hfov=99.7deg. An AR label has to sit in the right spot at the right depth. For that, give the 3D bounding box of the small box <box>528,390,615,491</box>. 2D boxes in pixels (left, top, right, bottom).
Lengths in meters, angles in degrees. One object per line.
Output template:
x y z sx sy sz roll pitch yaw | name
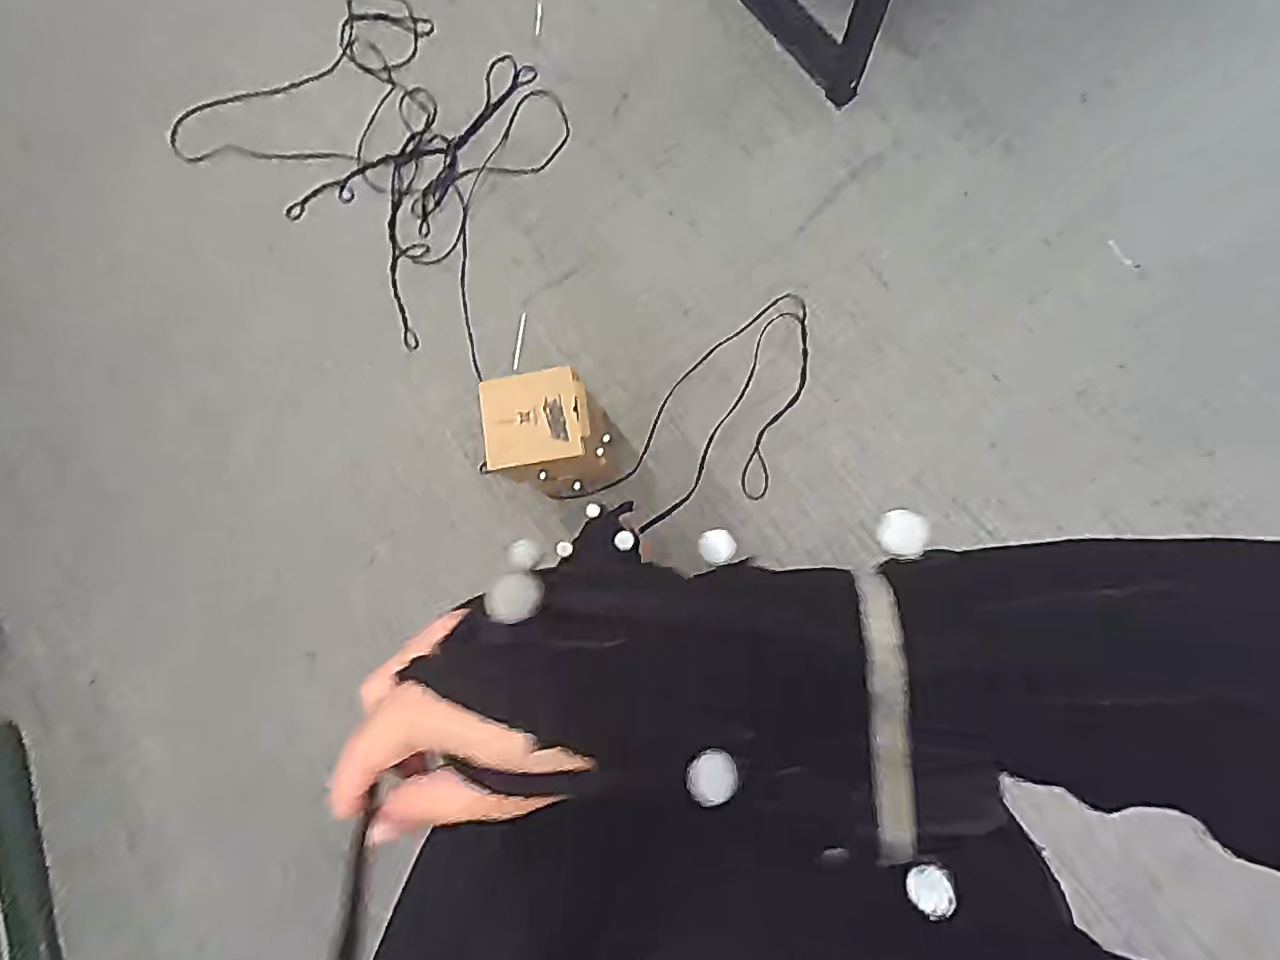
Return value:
-0.160 -0.077 1.191 0.168 0.176 0.179 -14 81 3 | small box

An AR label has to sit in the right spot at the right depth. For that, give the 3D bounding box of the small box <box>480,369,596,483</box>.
-0.184 -0.094 1.028 0.179 0.176 0.168 -9 80 5 | small box
